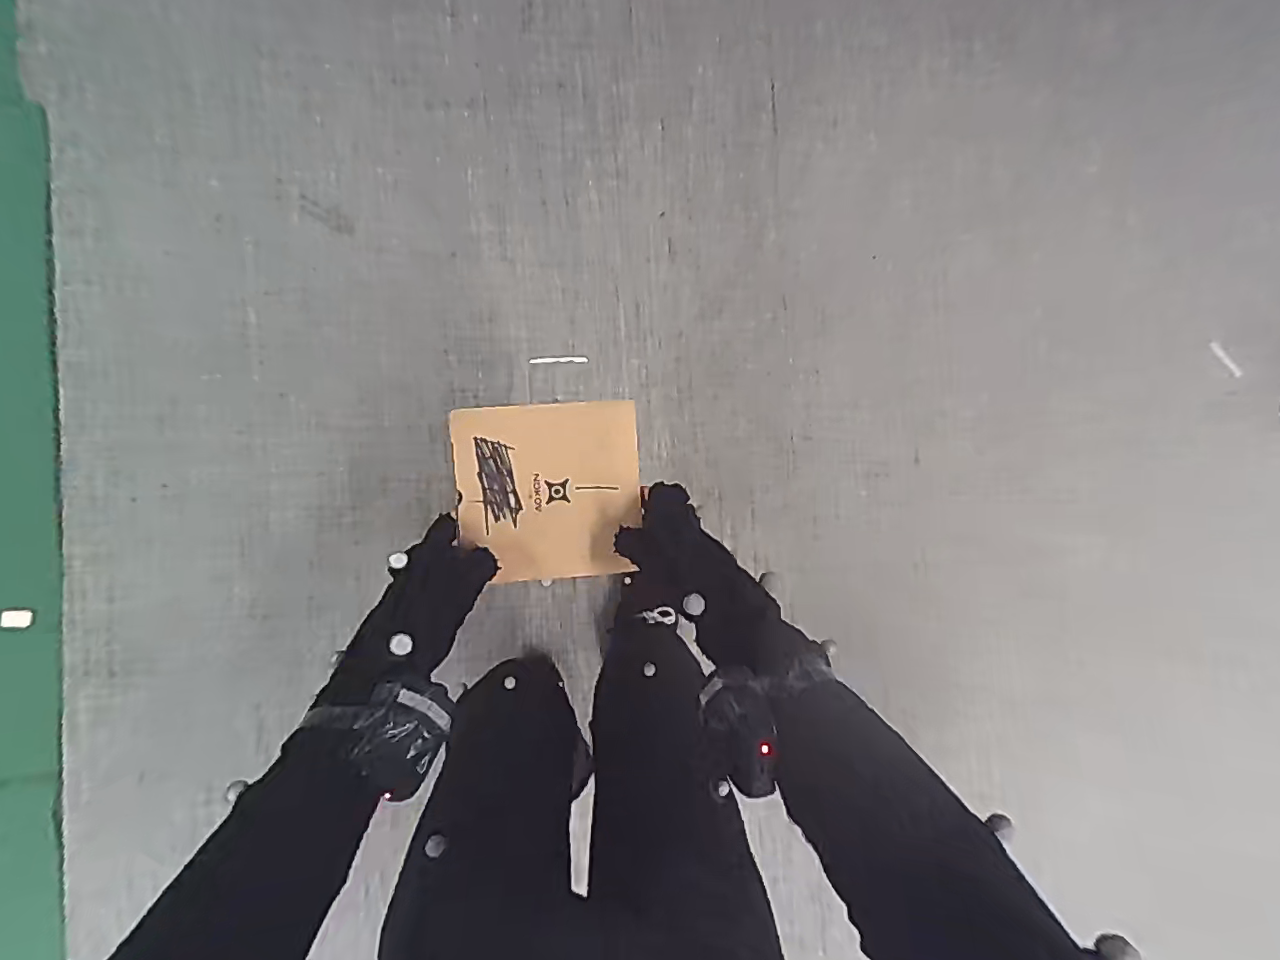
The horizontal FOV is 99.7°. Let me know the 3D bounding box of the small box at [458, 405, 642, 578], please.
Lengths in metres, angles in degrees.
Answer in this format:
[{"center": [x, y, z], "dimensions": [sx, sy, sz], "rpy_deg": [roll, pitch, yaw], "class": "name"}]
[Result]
[{"center": [-0.094, 0.013, 0.616], "dimensions": [0.179, 0.176, 0.168], "rpy_deg": [-4, 89, -5], "class": "small box"}]
